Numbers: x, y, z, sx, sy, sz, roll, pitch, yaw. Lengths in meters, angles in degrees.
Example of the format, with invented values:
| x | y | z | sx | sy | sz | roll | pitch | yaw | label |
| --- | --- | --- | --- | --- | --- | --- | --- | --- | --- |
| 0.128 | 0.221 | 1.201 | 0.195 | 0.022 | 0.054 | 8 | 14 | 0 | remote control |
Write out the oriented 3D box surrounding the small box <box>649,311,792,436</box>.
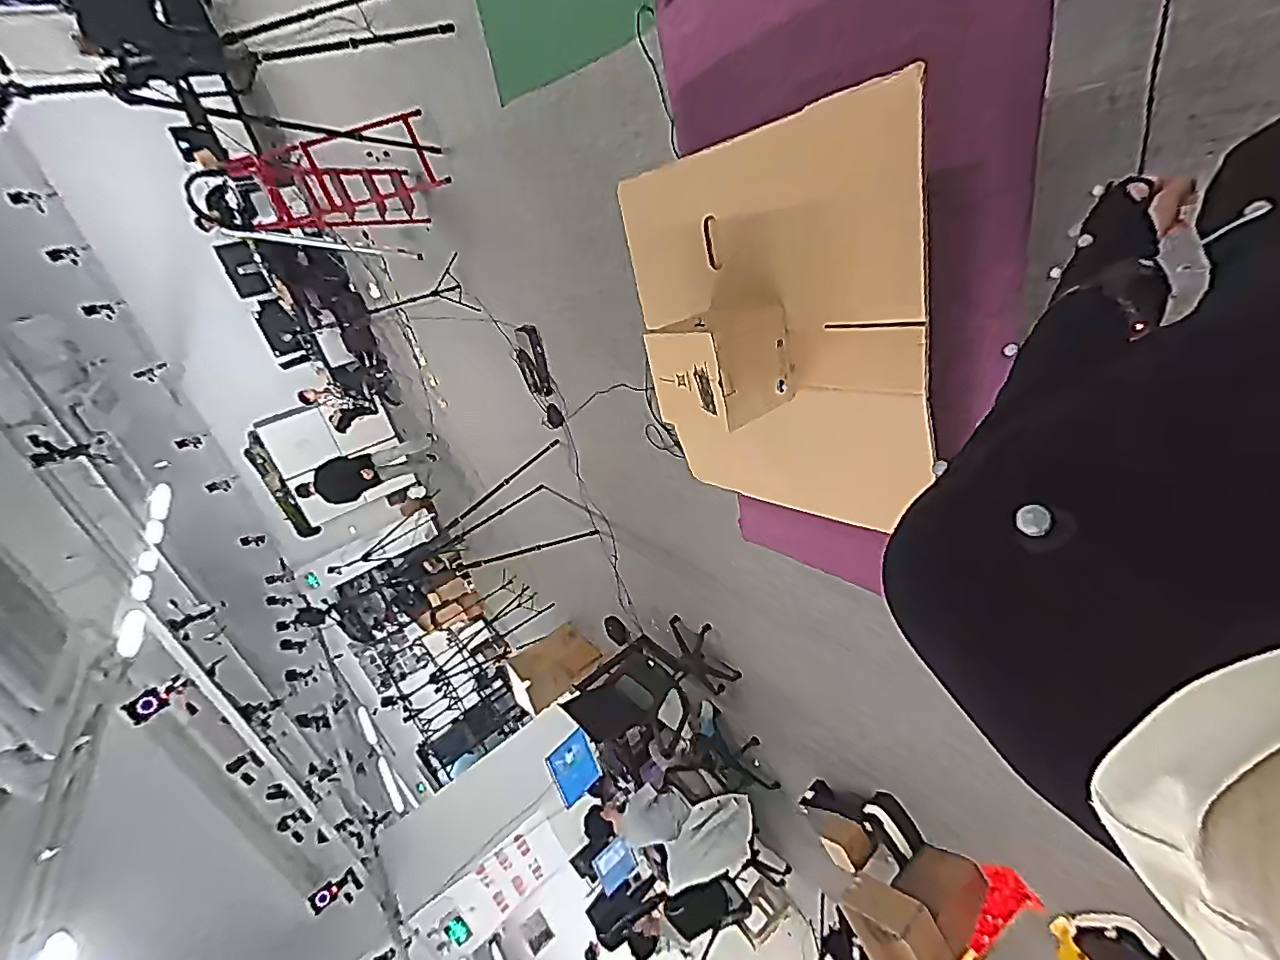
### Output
| x | y | z | sx | sy | sz | roll | pitch | yaw | label |
| --- | --- | --- | --- | --- | --- | --- | --- | --- | --- |
| 0.147 | -0.190 | 0.940 | 0.179 | 0.176 | 0.168 | 18 | 129 | 52 | small box |
